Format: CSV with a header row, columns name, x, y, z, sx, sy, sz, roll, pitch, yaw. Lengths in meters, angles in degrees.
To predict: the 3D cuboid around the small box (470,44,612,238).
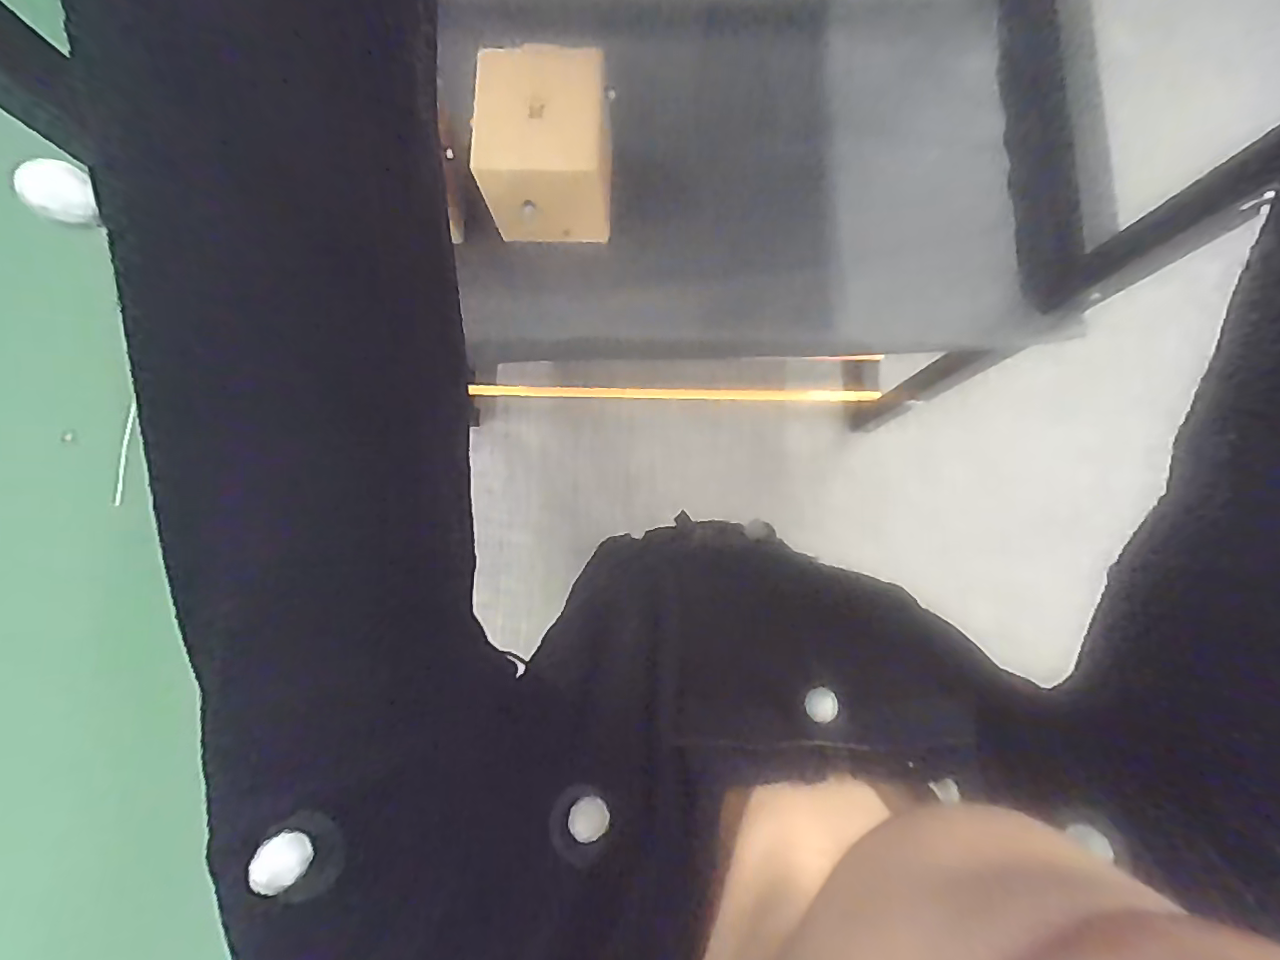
name,x,y,z,sx,sy,sz,roll,pitch,yaw
small box,-0.128,-0.466,0.766,0.168,0.176,0.179,1,81,1
